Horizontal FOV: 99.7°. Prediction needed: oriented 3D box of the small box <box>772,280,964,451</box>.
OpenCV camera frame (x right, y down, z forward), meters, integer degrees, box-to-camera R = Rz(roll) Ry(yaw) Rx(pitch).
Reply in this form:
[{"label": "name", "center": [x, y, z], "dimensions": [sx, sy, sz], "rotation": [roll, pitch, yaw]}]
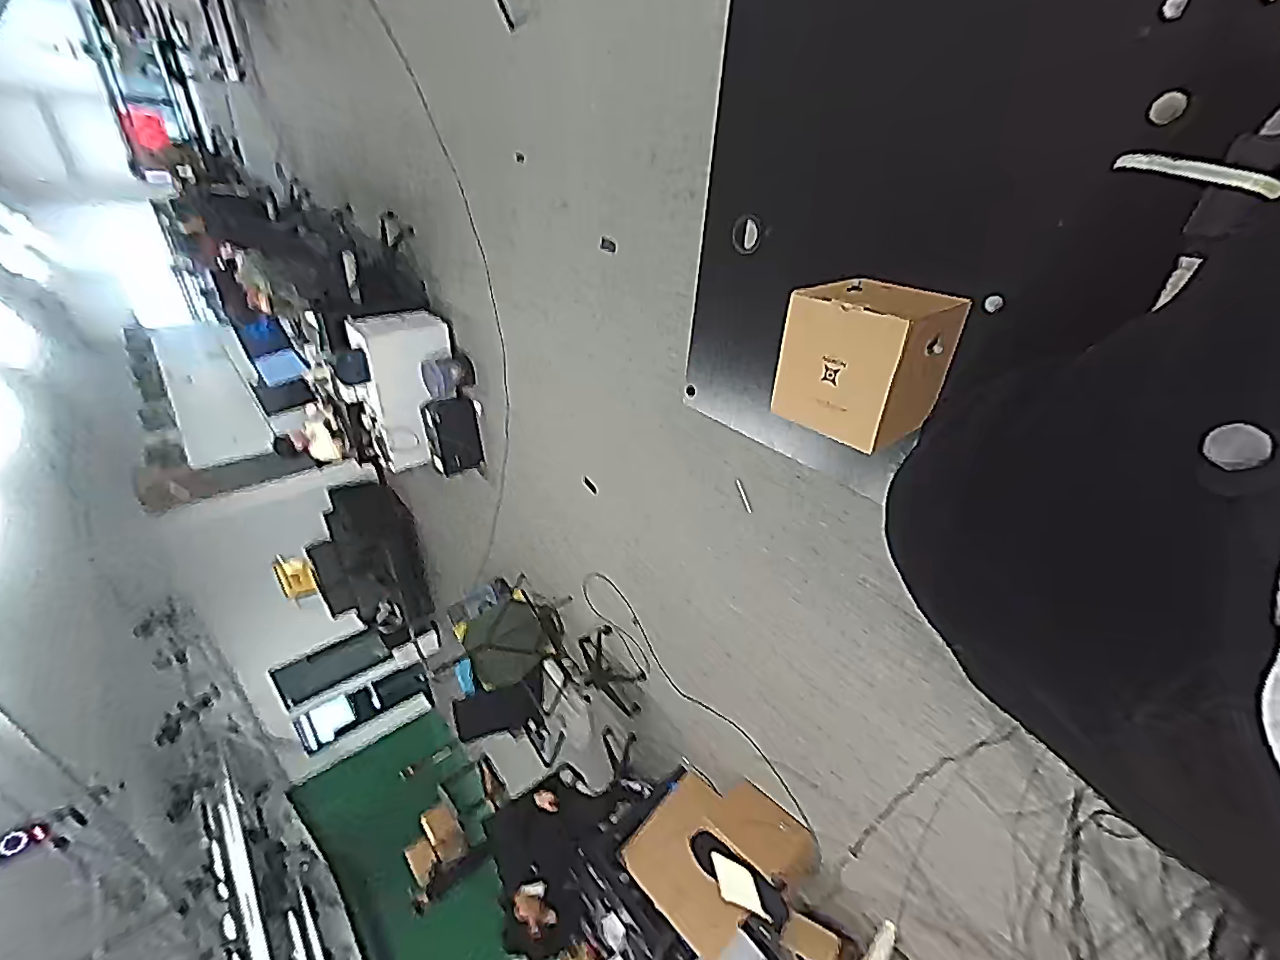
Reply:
[{"label": "small box", "center": [0.312, -0.168, 0.745], "dimensions": [0.168, 0.176, 0.179], "rotation": [33, 134, 41]}]
